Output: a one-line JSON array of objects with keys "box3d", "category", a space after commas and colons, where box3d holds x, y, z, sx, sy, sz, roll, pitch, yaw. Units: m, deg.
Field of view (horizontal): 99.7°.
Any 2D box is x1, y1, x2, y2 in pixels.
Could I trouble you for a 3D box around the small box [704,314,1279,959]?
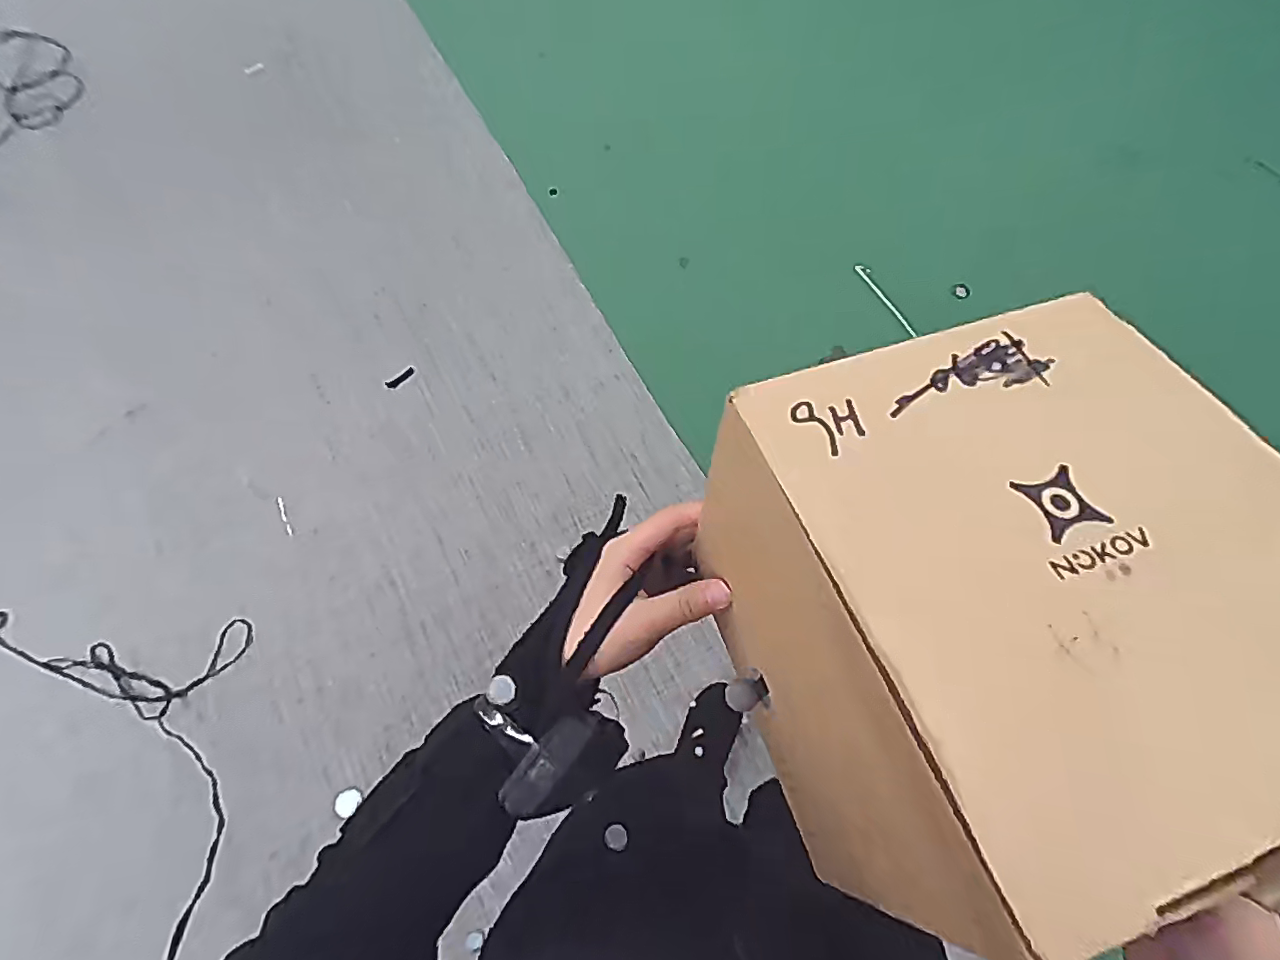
[{"box3d": [0.138, 0.062, 0.244, 0.168, 0.176, 0.179, -15, 61, -9], "category": "small box"}]
